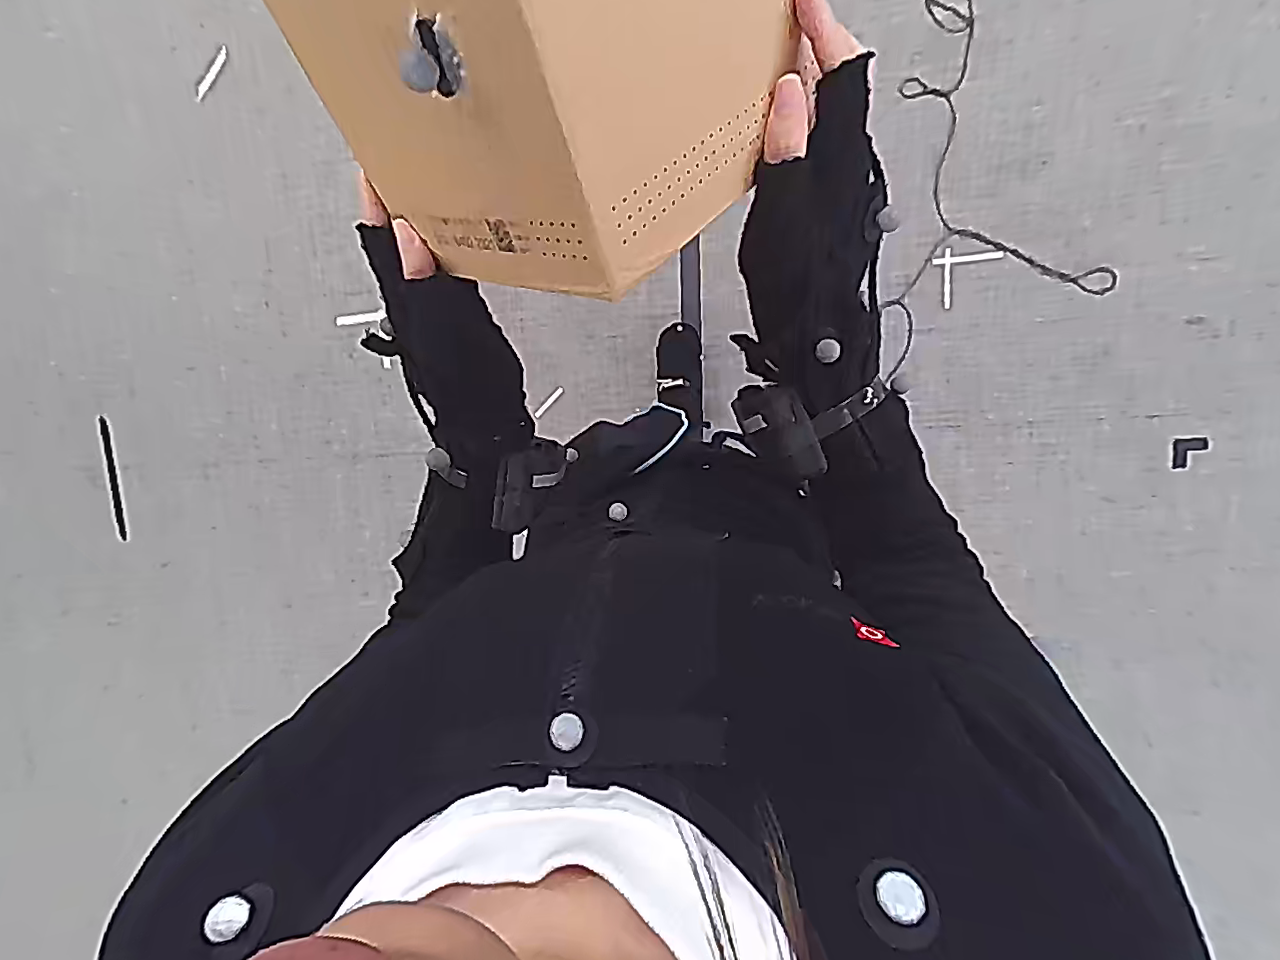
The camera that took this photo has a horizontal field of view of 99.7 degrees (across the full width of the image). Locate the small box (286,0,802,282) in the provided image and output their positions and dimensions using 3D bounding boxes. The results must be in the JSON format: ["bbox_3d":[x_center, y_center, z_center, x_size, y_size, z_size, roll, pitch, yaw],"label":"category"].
[{"bbox_3d":[-0.036,-0.218,0.262,0.168,0.176,0.179,25,61,38],"label":"small box"}]
